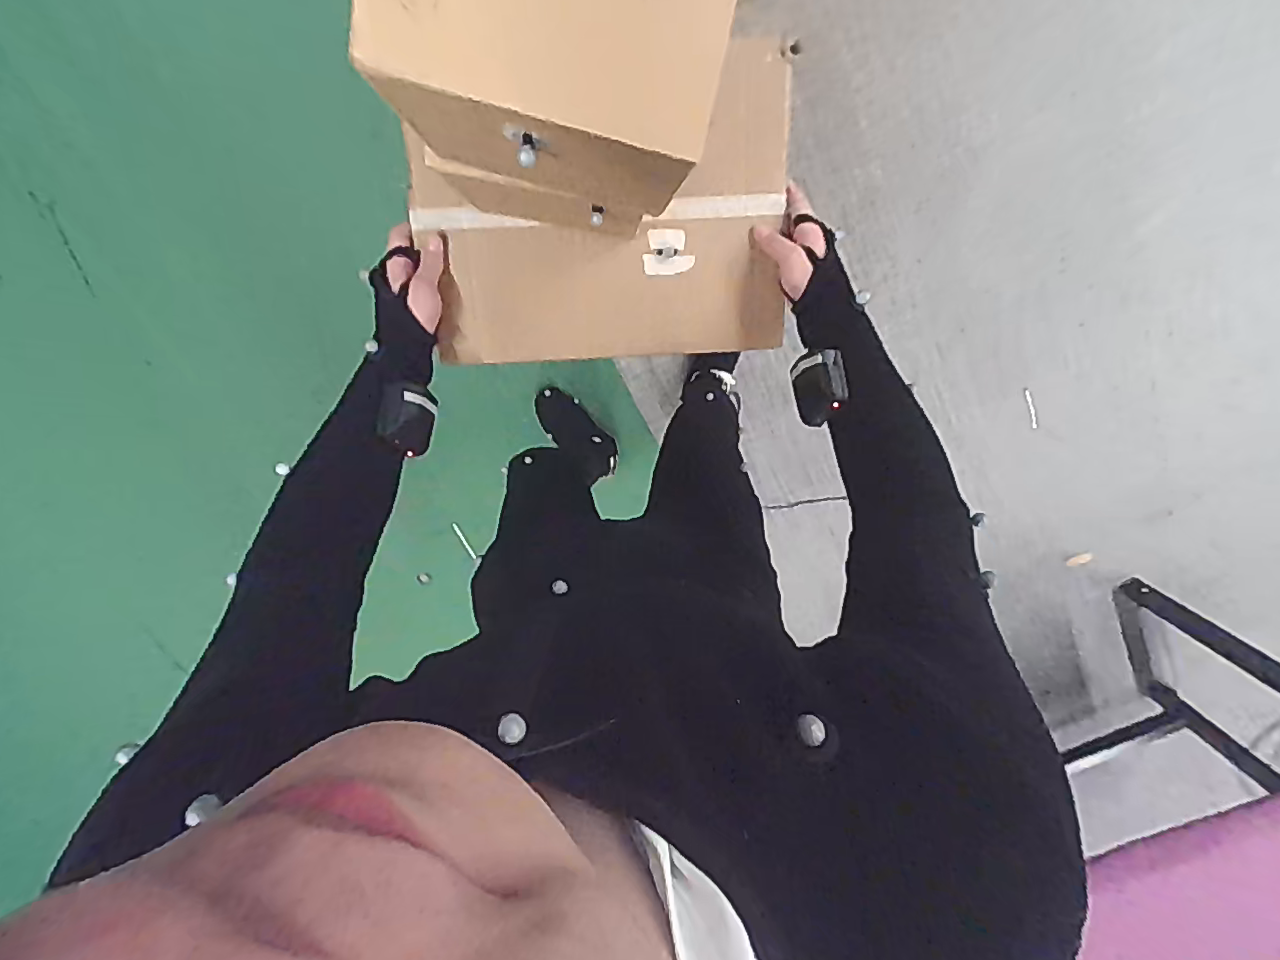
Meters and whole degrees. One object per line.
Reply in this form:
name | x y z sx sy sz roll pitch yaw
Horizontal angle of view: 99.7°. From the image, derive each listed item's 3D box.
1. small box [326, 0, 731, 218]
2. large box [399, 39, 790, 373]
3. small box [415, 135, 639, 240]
small box | -0.046 -0.270 0.313 0.179 0.176 0.168 12 105 -8
large box | -0.050 -0.327 0.721 0.408 0.320 0.320 -4 108 -4
small box | -0.075 -0.317 0.467 0.179 0.176 0.168 7 105 -7
